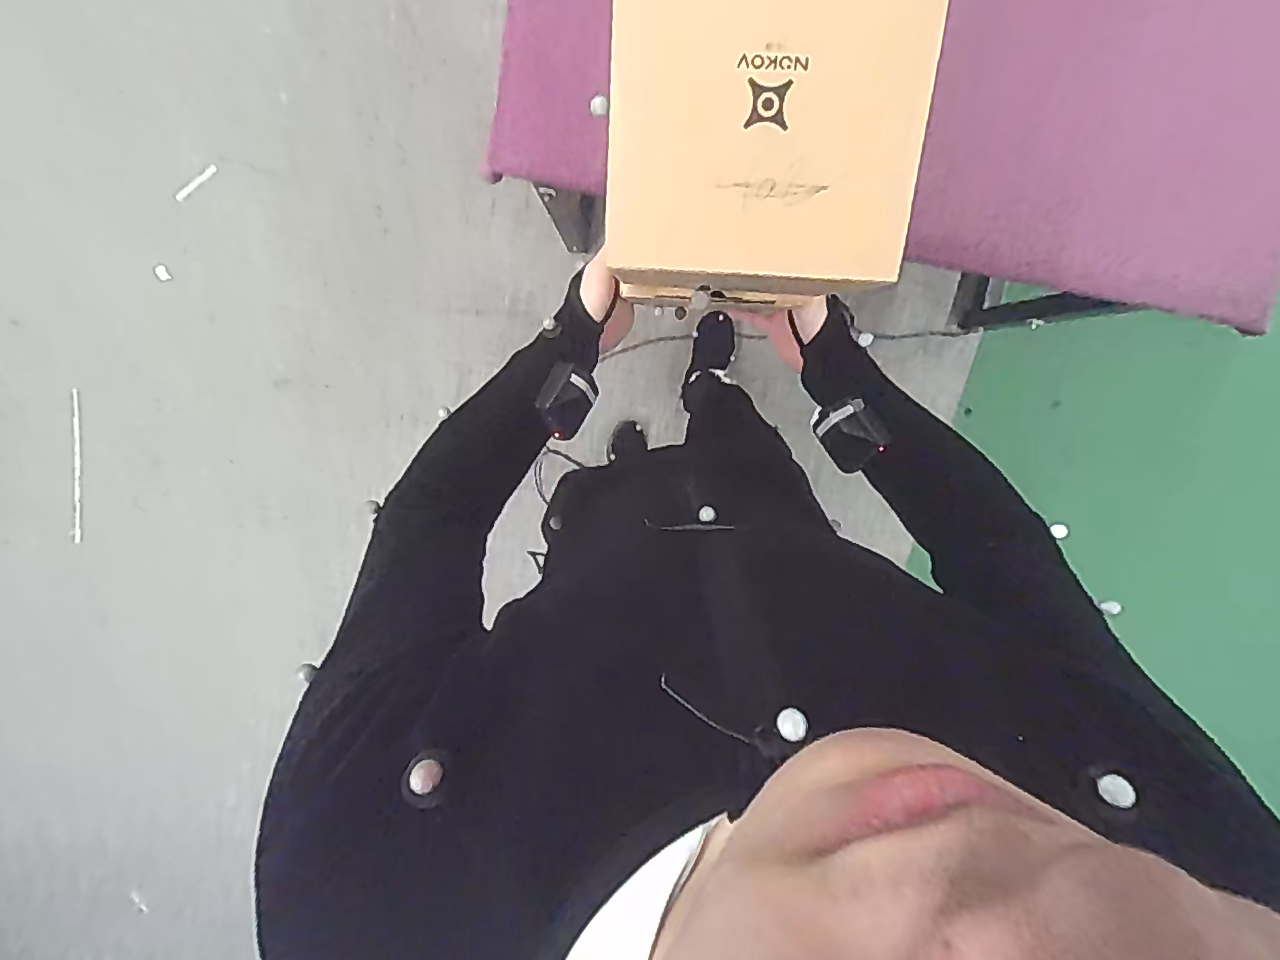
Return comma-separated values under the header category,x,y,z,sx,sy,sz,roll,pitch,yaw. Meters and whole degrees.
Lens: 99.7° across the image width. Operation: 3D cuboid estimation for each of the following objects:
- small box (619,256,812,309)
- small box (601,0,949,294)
category,x,y,z,sx,sy,sz,roll,pitch,yaw
small box,0.073,-0.259,0.510,0.168,0.176,0.179,4,105,2
small box,0.069,-0.222,0.351,0.168,0.176,0.179,4,107,2
